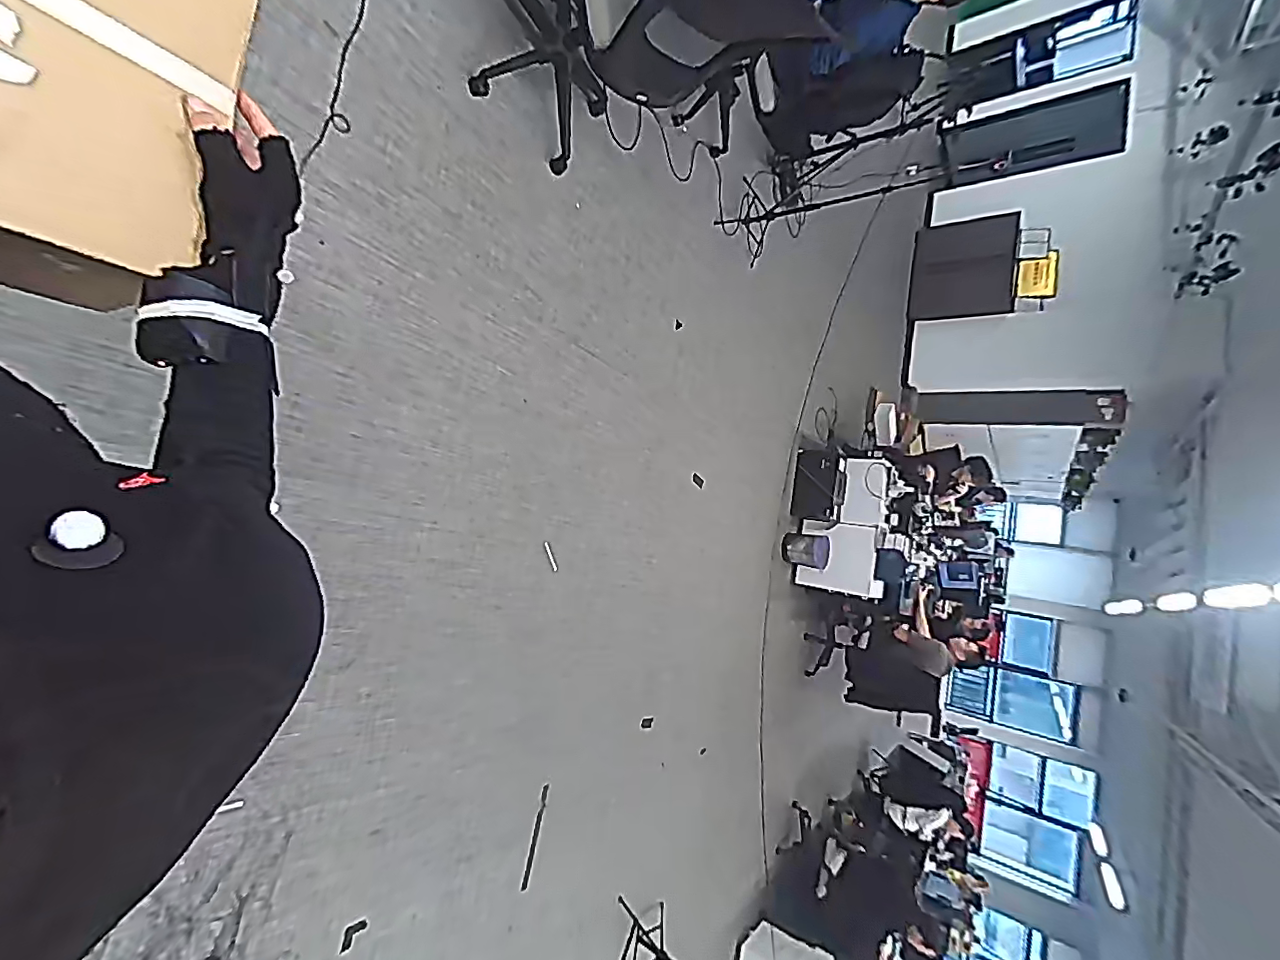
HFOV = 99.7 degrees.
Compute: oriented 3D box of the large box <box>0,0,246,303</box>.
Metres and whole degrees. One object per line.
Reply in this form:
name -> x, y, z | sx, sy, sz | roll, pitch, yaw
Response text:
large box -> -0.586, -0.355, 0.381 | 0.408, 0.320, 0.320 | 13, 87, -55
